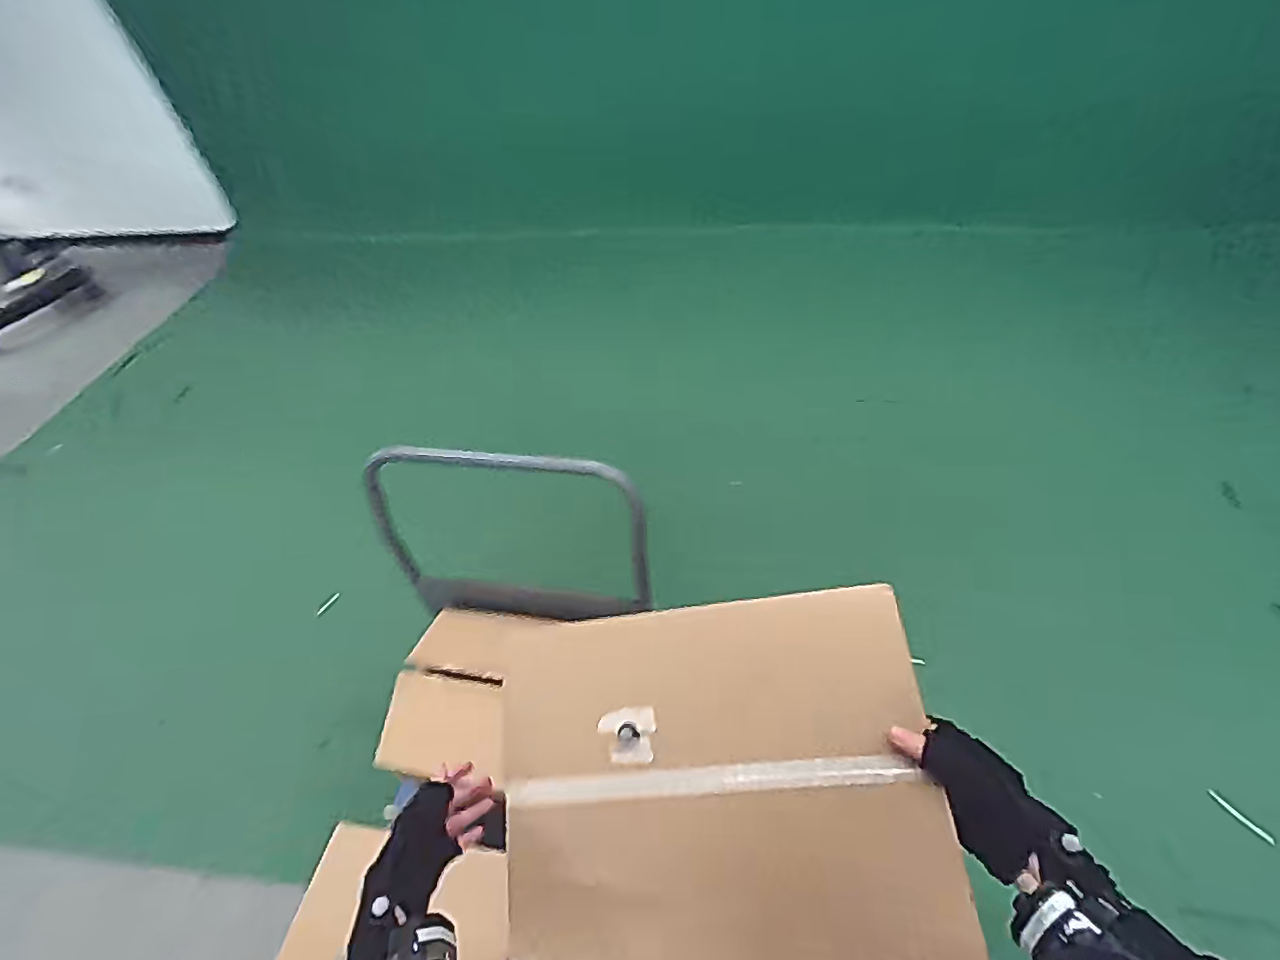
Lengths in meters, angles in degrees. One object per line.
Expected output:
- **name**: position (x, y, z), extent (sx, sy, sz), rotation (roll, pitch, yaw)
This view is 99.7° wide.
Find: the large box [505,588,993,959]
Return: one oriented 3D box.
- **large box**: position (0.103, 0.325, 0.624), extent (0.408, 0.320, 0.320), rotation (-11, 69, 13)
